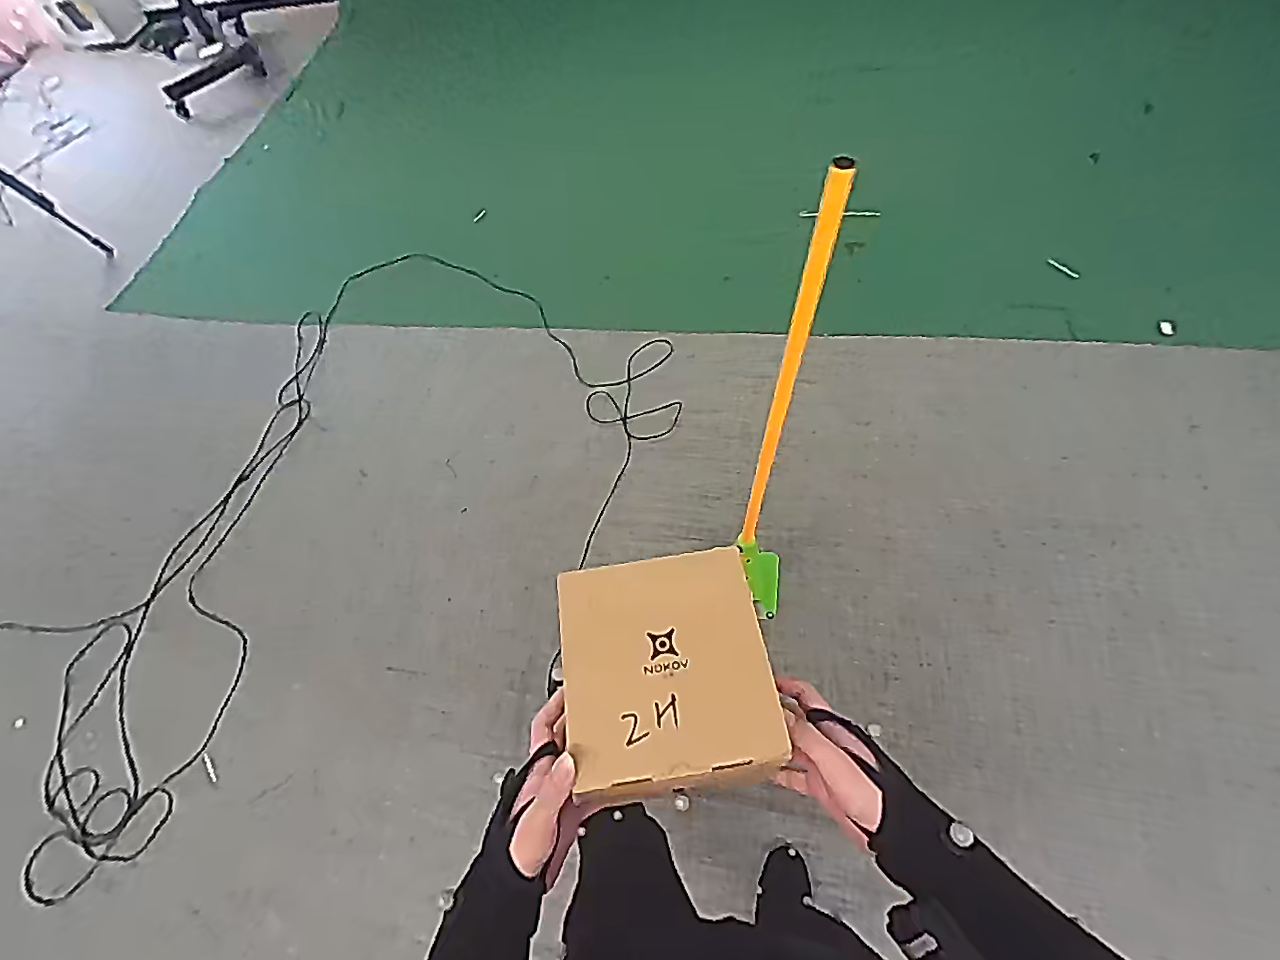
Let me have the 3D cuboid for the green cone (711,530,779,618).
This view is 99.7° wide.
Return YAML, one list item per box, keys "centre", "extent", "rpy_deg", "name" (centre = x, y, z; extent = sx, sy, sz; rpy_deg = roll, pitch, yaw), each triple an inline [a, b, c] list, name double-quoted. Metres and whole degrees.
- centre: [0.272, 0.214, 1.422]
  extent: [0.202, 0.368, 0.200]
  rpy_deg: [5, 63, 12]
  name: "green cone"

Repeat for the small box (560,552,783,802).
- centre: [0.020, 0.190, 0.511]
  extent: [0.168, 0.176, 0.179]
  rpy_deg: [-8, 57, -1]
  name: "small box"
